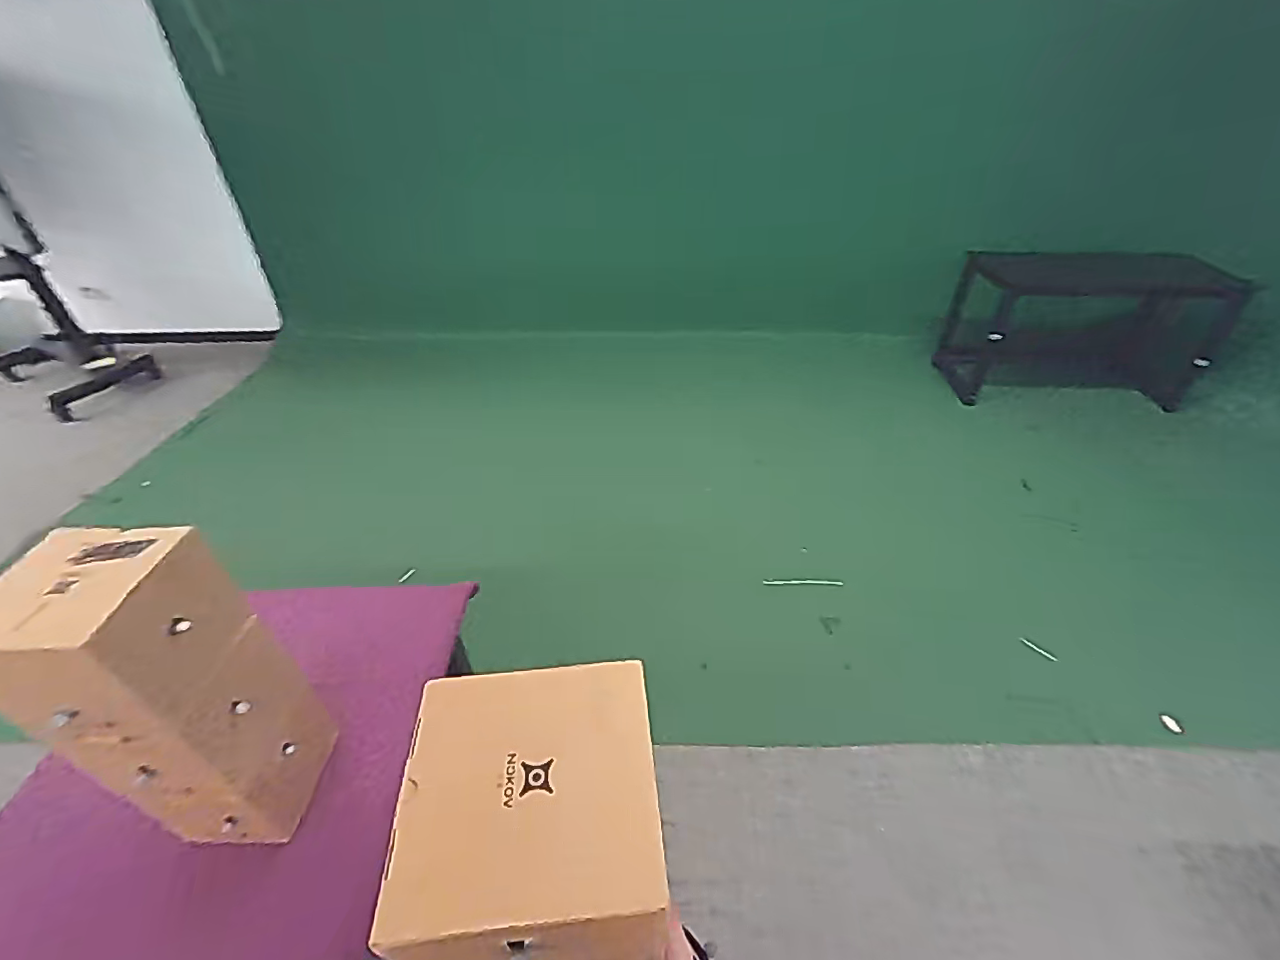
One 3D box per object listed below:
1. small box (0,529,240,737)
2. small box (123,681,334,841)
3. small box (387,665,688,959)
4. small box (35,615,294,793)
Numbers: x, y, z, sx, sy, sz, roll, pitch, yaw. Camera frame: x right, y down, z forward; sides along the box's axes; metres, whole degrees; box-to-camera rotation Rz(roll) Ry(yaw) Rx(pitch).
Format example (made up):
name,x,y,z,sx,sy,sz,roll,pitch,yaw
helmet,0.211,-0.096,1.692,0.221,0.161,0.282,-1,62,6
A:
name,x,y,z,sx,sy,sz,roll,pitch,yaw
small box,-0.618,0.176,0.633,0.168,0.176,0.179,-1,39,-1
small box,-0.611,0.434,0.836,0.168,0.176,0.179,1,38,1
small box,-0.064,0.268,0.423,0.179,0.176,0.168,-4,41,-3
small box,-0.615,0.305,0.735,0.168,0.176,0.179,0,39,0
